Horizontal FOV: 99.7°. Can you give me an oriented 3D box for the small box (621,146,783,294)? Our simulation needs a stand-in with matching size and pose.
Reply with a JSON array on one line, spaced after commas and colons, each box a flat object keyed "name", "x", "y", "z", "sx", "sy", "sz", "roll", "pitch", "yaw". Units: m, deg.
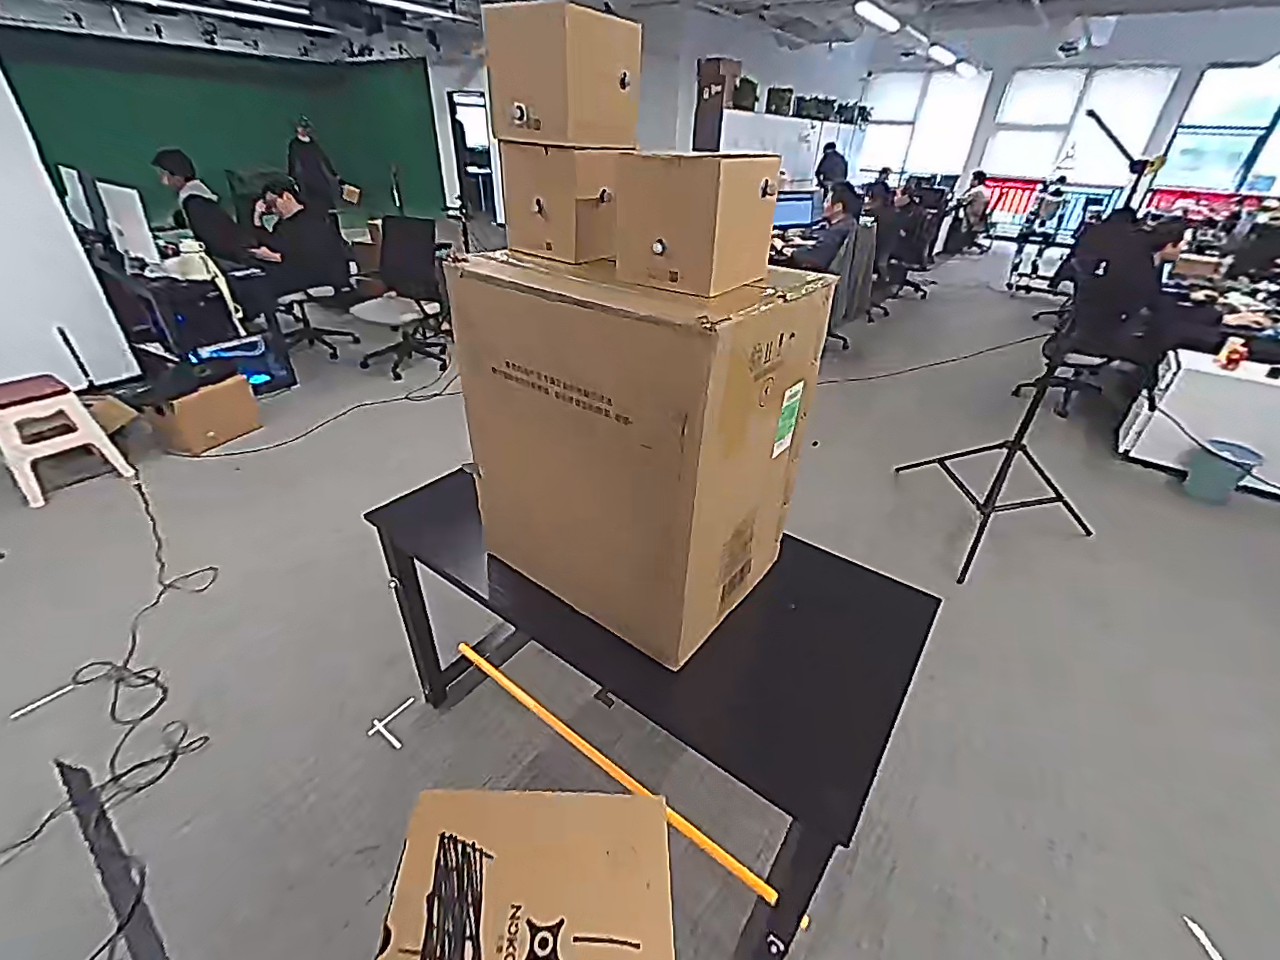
[{"name": "small box", "x": 0.084, "y": -0.380, "z": 0.782, "sx": 0.168, "sy": 0.176, "sz": 0.179, "roll": 22, "pitch": 38, "yaw": 31}]

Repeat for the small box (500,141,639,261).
[{"name": "small box", "x": -0.115, "y": -0.487, "z": 0.938, "sx": 0.168, "sy": 0.176, "sz": 0.179, "roll": 24, "pitch": 39, "yaw": 28}]

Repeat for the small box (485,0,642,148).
[{"name": "small box", "x": -0.116, "y": -0.619, "z": 0.841, "sx": 0.168, "sy": 0.176, "sz": 0.179, "roll": 22, "pitch": 38, "yaw": 28}]

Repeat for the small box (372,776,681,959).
[{"name": "small box", "x": -0.072, "y": 0.326, "z": 0.365, "sx": 0.179, "sy": 0.176, "sz": 0.168, "roll": 6, "pitch": 37, "yaw": -6}]
